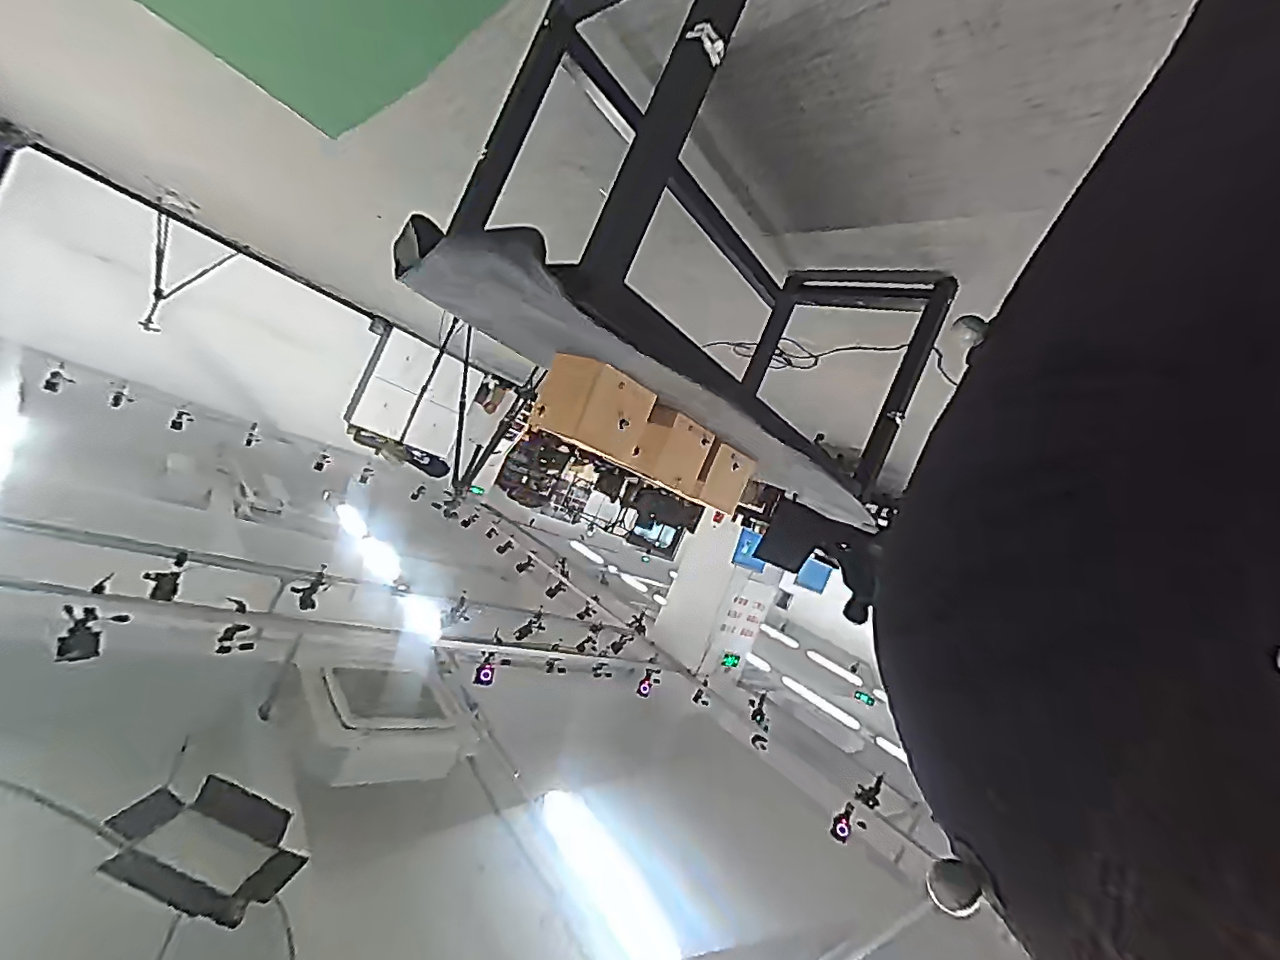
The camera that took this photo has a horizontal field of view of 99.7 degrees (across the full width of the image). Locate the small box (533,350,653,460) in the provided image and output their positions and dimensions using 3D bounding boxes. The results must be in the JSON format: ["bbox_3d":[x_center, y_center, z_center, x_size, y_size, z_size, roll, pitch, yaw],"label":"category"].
[{"bbox_3d":[-0.093,-0.162,1.153,0.168,0.176,0.179,24,180,-45],"label":"small box"}]
